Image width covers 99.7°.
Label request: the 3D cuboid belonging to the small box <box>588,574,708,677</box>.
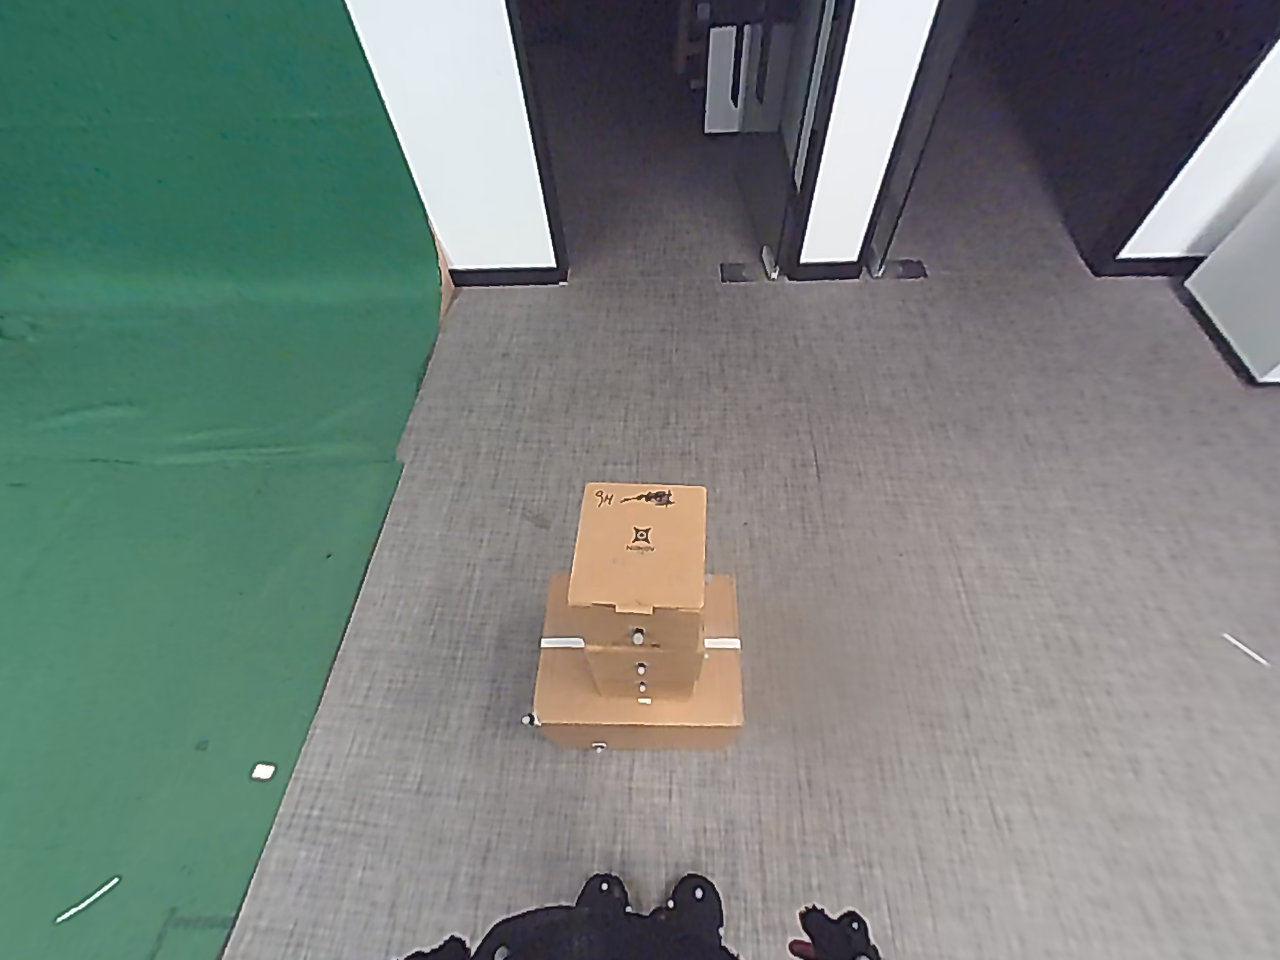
[{"bbox_3d":[0.012,0.219,0.883,0.179,0.176,0.168,-2,57,1],"label":"small box"}]

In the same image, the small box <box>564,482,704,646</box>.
[{"bbox_3d":[0.003,0.122,0.752,0.168,0.176,0.179,2,58,6],"label":"small box"}]

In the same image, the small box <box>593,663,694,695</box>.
[{"bbox_3d":[0.013,0.304,1.024,0.179,0.176,0.168,1,58,3],"label":"small box"}]
